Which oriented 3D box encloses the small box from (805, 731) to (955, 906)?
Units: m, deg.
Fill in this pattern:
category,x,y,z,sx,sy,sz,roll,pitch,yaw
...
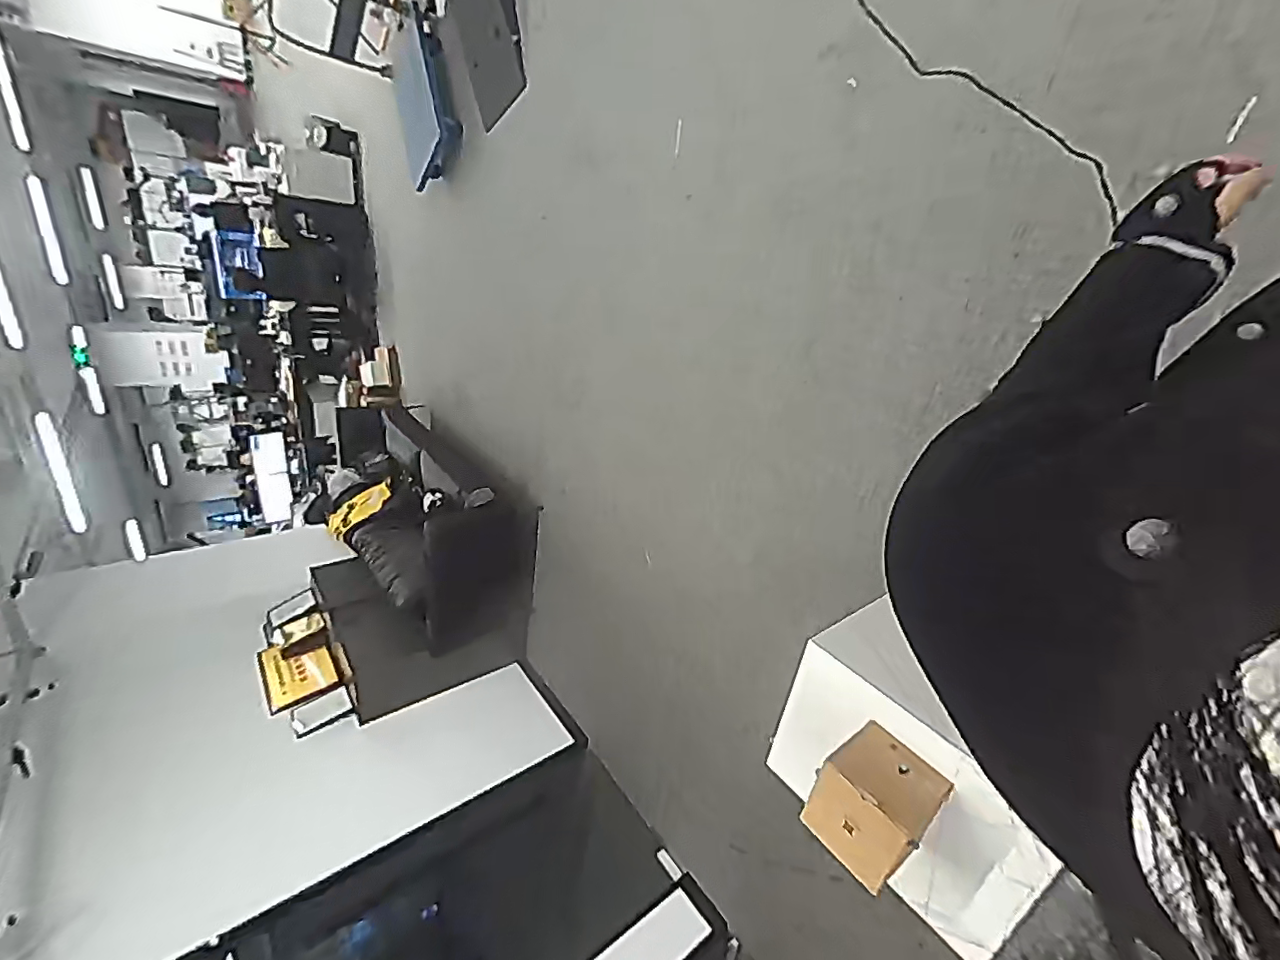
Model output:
category,x,y,z,sx,sy,sz,roll,pitch,yaw
small box,0.435,0.603,0.984,0.168,0.176,0.179,34,125,43
